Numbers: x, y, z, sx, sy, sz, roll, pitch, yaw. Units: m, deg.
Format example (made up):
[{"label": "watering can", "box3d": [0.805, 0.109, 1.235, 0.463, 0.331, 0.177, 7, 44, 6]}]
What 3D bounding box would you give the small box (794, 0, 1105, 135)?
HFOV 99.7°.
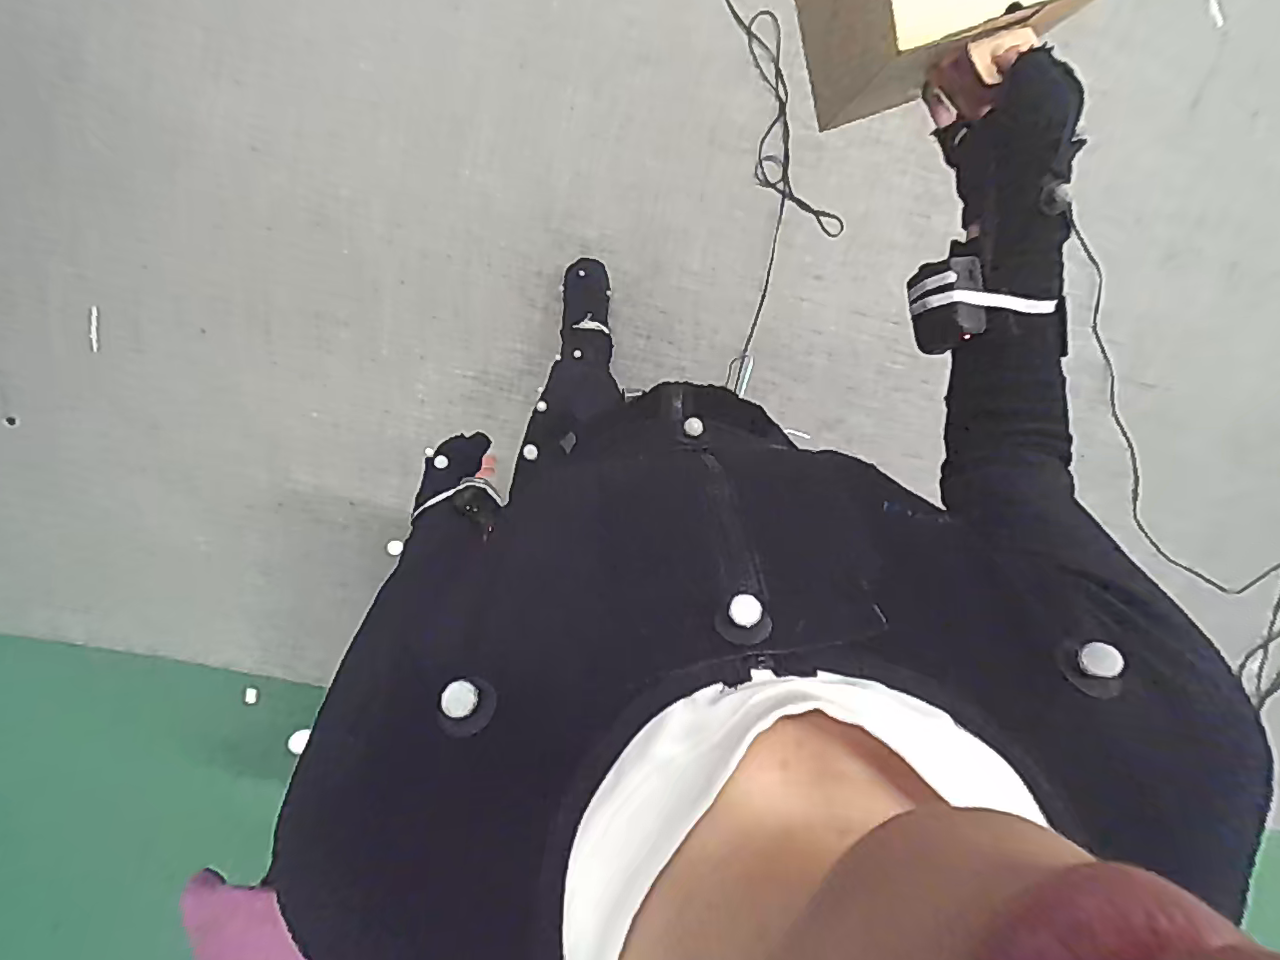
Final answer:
[{"label": "small box", "box3d": [0.233, -0.422, 0.439, 0.168, 0.176, 0.179, -16, 106, 4]}]
